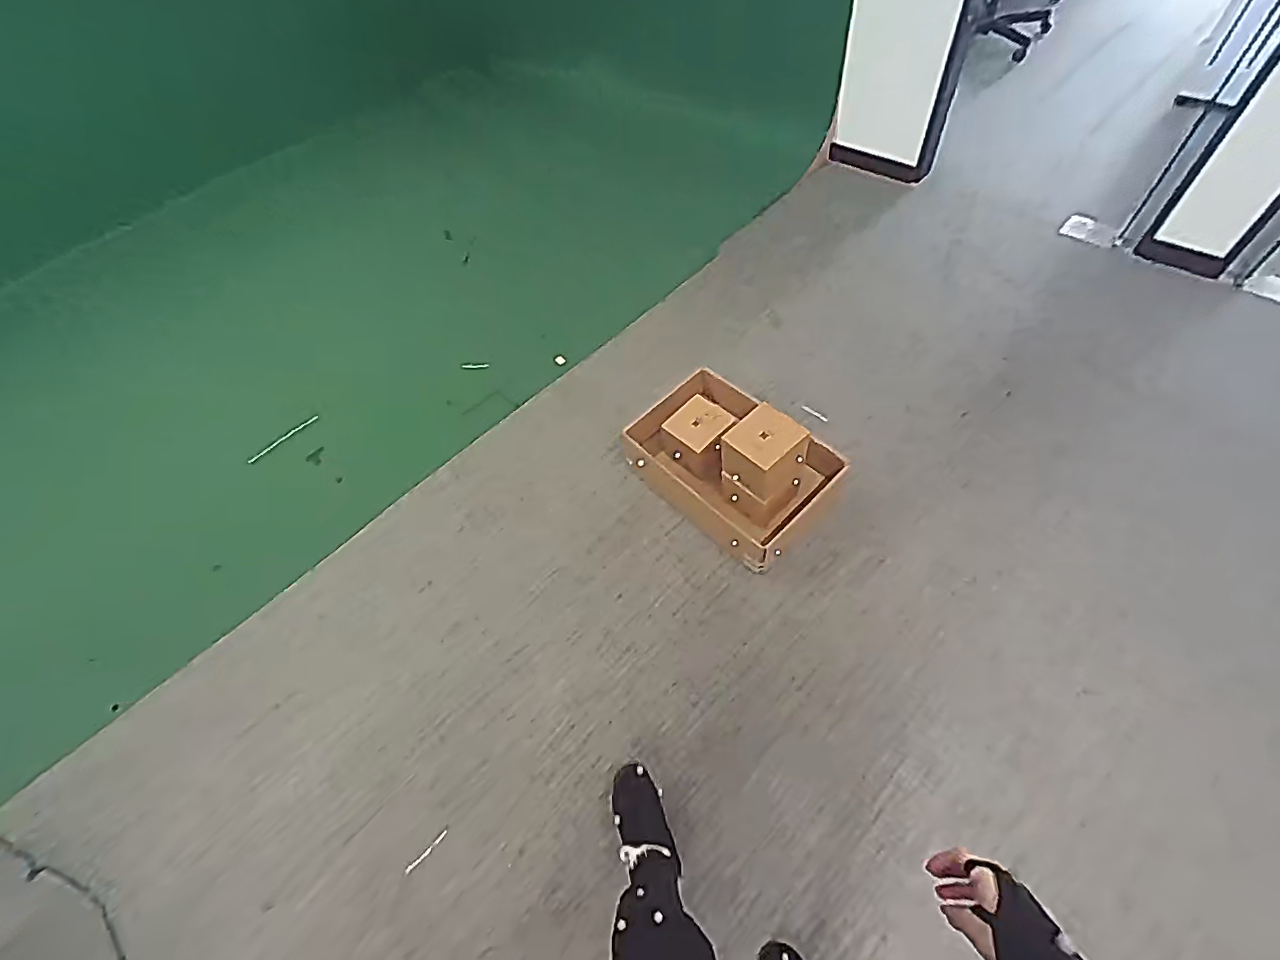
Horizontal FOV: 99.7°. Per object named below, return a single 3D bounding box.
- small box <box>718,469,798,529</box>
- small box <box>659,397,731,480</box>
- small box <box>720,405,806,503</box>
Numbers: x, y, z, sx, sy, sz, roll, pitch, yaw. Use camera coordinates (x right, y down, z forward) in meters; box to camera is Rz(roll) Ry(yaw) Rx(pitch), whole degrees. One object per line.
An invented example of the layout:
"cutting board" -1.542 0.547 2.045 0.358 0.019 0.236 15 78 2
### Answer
"small box" 0.360 0.020 1.660 0.179 0.176 0.168 -41 61 -18
"small box" 0.185 -0.132 1.781 0.179 0.176 0.168 -42 63 -17
"small box" 0.341 -0.072 1.526 0.179 0.176 0.168 -39 58 -16
